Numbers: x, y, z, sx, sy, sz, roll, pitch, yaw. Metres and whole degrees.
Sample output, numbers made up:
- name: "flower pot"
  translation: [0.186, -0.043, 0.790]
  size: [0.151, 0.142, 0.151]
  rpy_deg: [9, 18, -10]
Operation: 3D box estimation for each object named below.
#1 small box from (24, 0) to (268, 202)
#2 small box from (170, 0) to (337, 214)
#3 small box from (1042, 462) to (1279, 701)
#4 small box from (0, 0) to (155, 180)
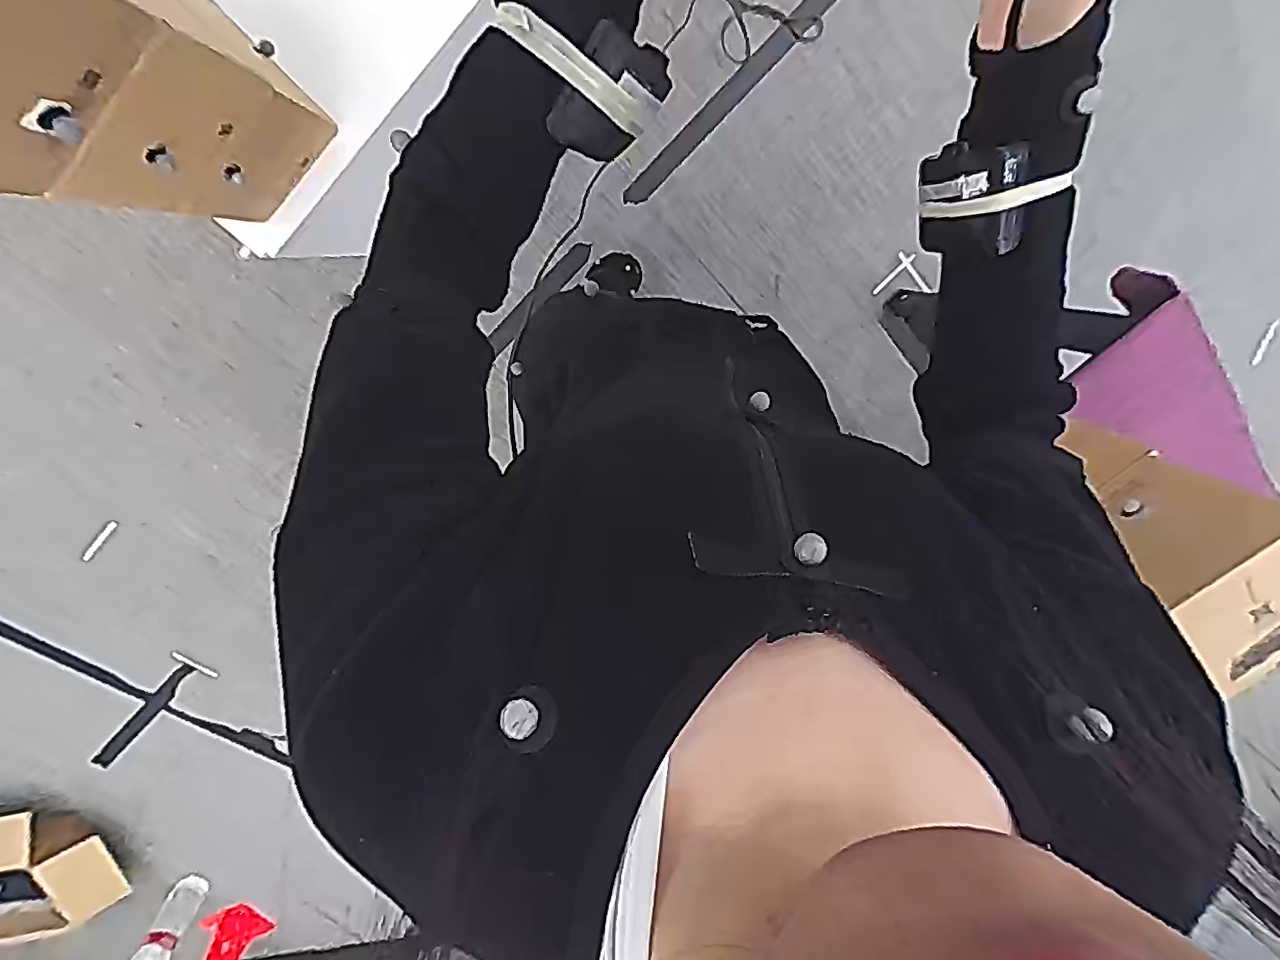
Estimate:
- name: "small box"
  translation: [-0.459, -0.355, 0.441]
  size: [0.168, 0.176, 0.179]
  rpy_deg: [-44, 111, 11]
- name: "small box"
  translation: [-0.481, -0.418, 0.590]
  size: [0.168, 0.176, 0.179]
  rpy_deg: [-43, 110, 10]
- name: "small box"
  translation: [0.627, 0.108, 0.627]
  size: [0.168, 0.176, 0.179]
  rpy_deg: [-40, 111, 10]
- name: "small box"
  translation: [-0.440, -0.295, 0.291]
  size: [0.168, 0.176, 0.179]
  rpy_deg: [-44, 111, 12]
